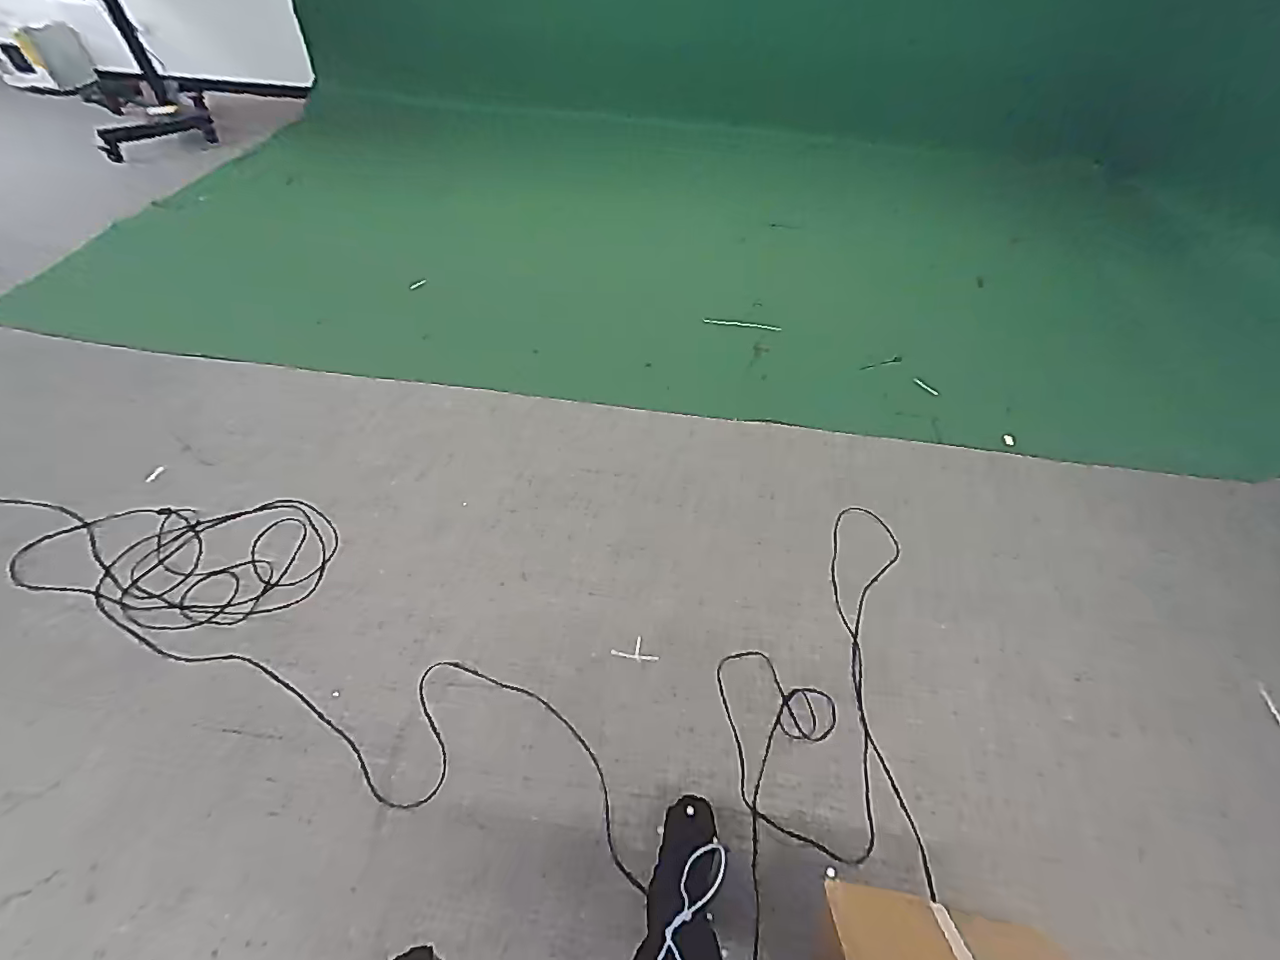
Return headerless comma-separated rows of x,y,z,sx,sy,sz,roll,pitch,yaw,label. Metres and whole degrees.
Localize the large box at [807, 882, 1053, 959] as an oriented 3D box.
0.370,0.775,0.598,0.320,0.408,0.320,11,92,7,large box
